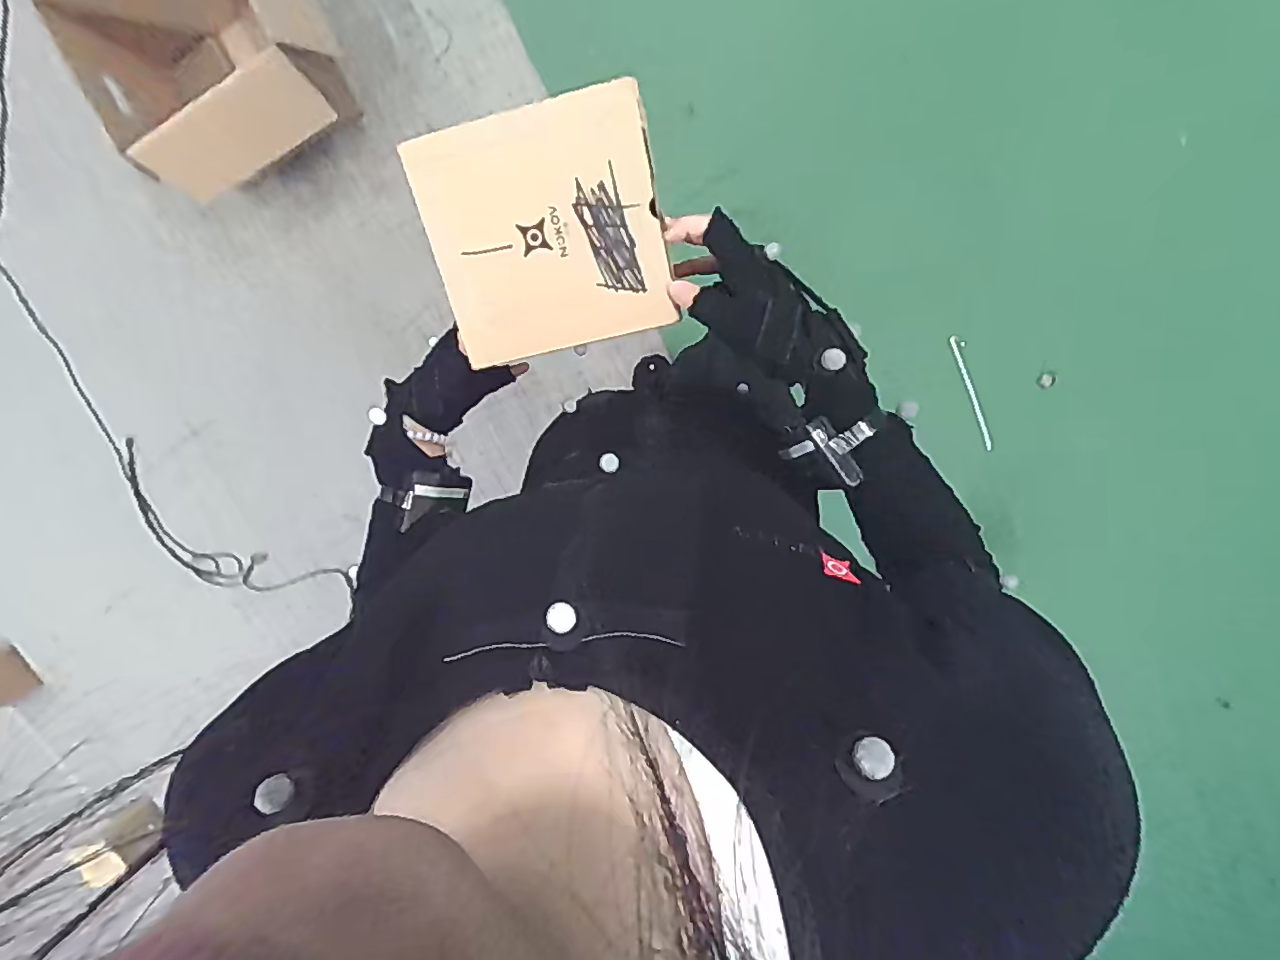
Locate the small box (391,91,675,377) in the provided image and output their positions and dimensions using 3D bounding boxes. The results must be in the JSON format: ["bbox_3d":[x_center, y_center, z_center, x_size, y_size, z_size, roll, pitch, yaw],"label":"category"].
[{"bbox_3d":[-0.074,-0.202,0.473,0.179,0.176,0.168,-12,110,6],"label":"small box"}]

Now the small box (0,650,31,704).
[{"bbox_3d":[-2.114,0.656,1.700,0.168,0.176,0.179,-27,102,9],"label":"small box"}]

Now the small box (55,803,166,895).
[{"bbox_3d":[-1.782,1.242,1.828,0.179,0.176,0.168,-27,101,9],"label":"small box"}]
